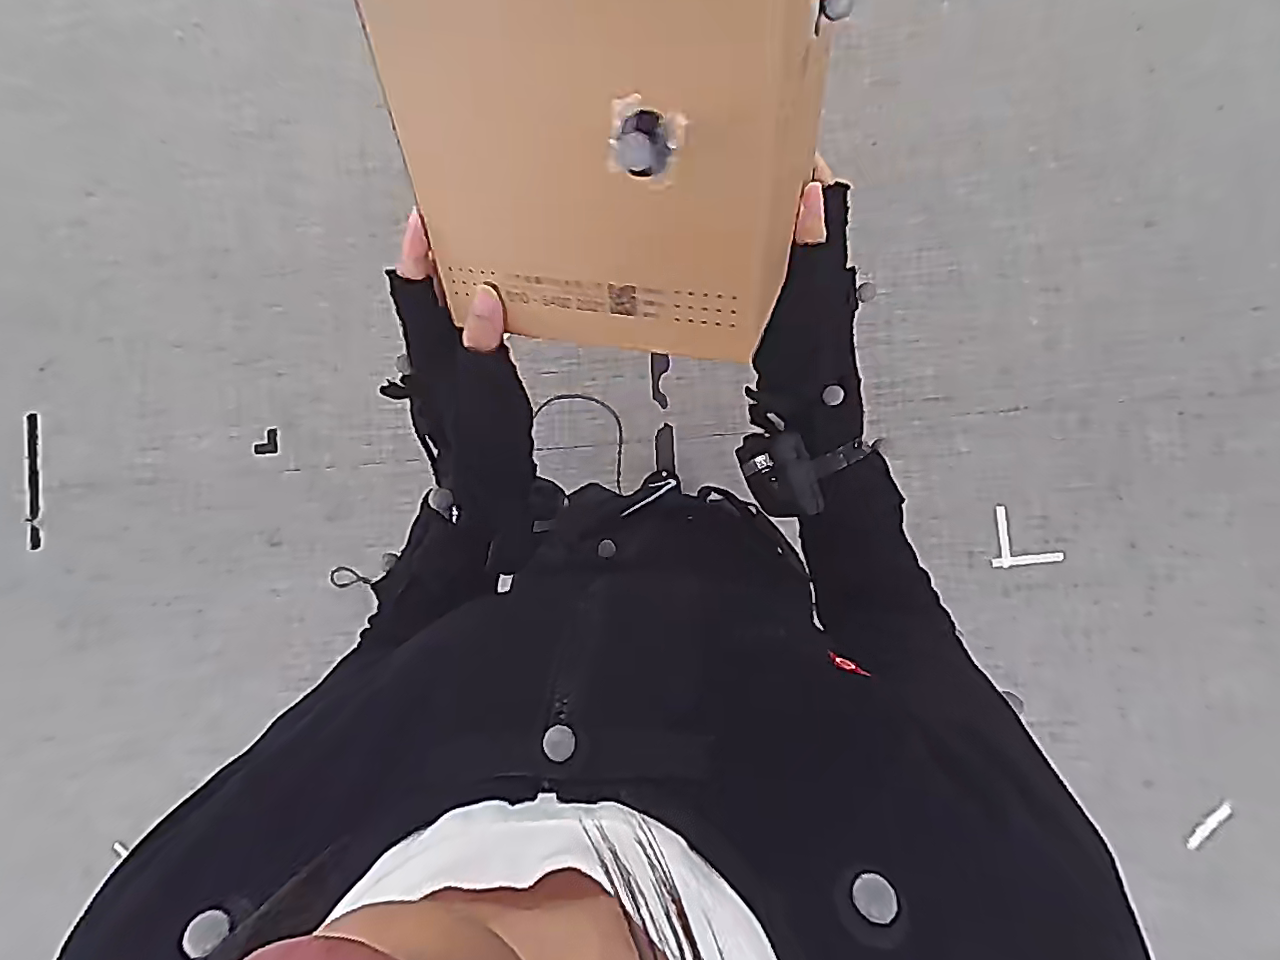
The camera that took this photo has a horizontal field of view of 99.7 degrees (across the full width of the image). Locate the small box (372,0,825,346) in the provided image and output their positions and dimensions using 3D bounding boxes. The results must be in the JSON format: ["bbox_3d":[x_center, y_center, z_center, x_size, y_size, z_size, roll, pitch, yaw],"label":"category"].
[{"bbox_3d":[0.000,-0.192,0.297,0.168,0.179,0.176,14,135,19],"label":"small box"}]
